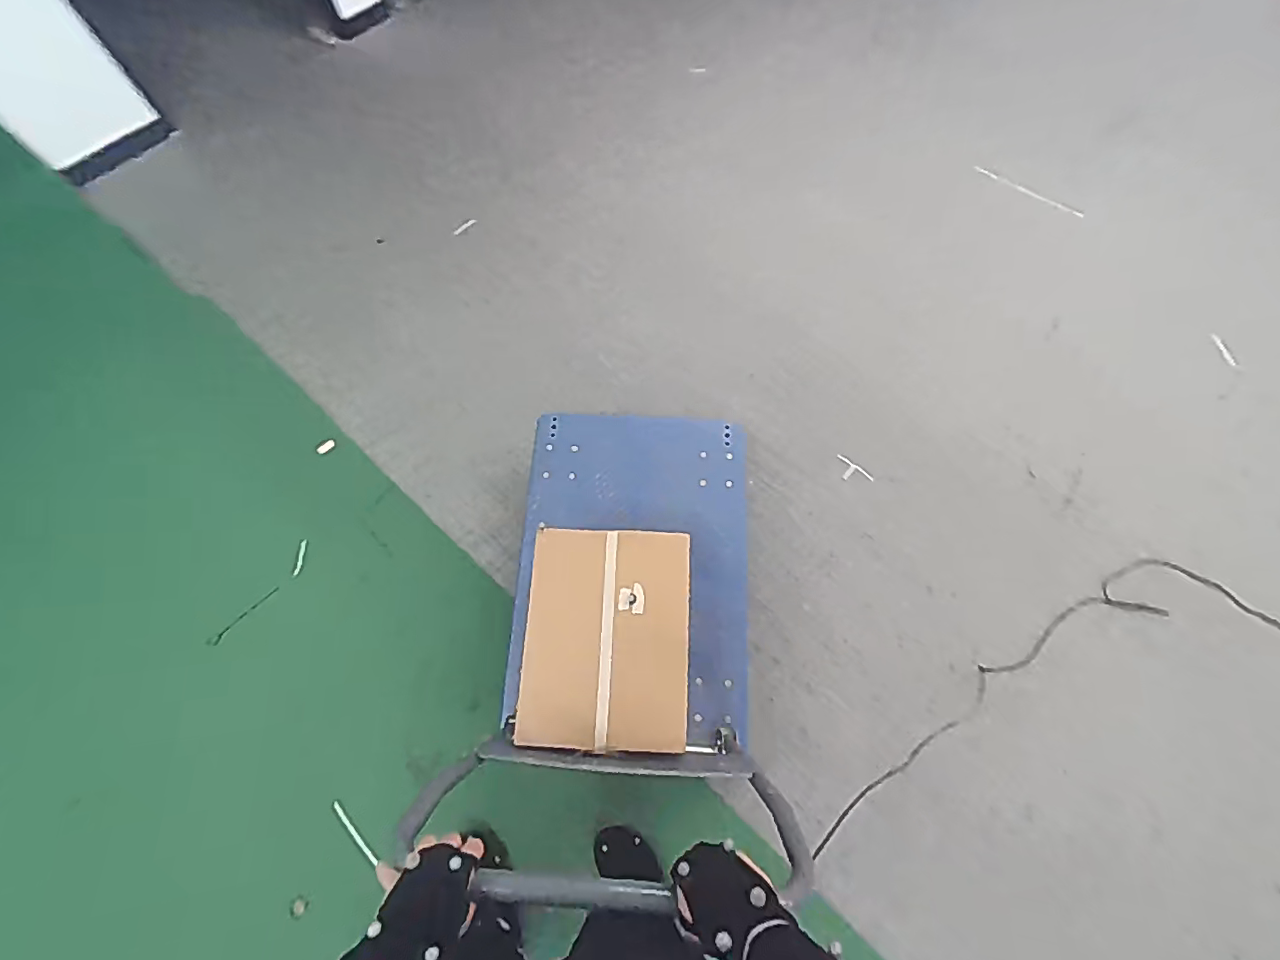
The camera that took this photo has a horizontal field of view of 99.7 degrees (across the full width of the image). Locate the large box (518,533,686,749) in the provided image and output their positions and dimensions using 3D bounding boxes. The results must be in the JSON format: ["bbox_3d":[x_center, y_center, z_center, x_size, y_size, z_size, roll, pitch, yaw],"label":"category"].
[{"bbox_3d":[-0.063,0.353,1.190,0.320,0.320,0.408,3,70,1],"label":"large box"}]
